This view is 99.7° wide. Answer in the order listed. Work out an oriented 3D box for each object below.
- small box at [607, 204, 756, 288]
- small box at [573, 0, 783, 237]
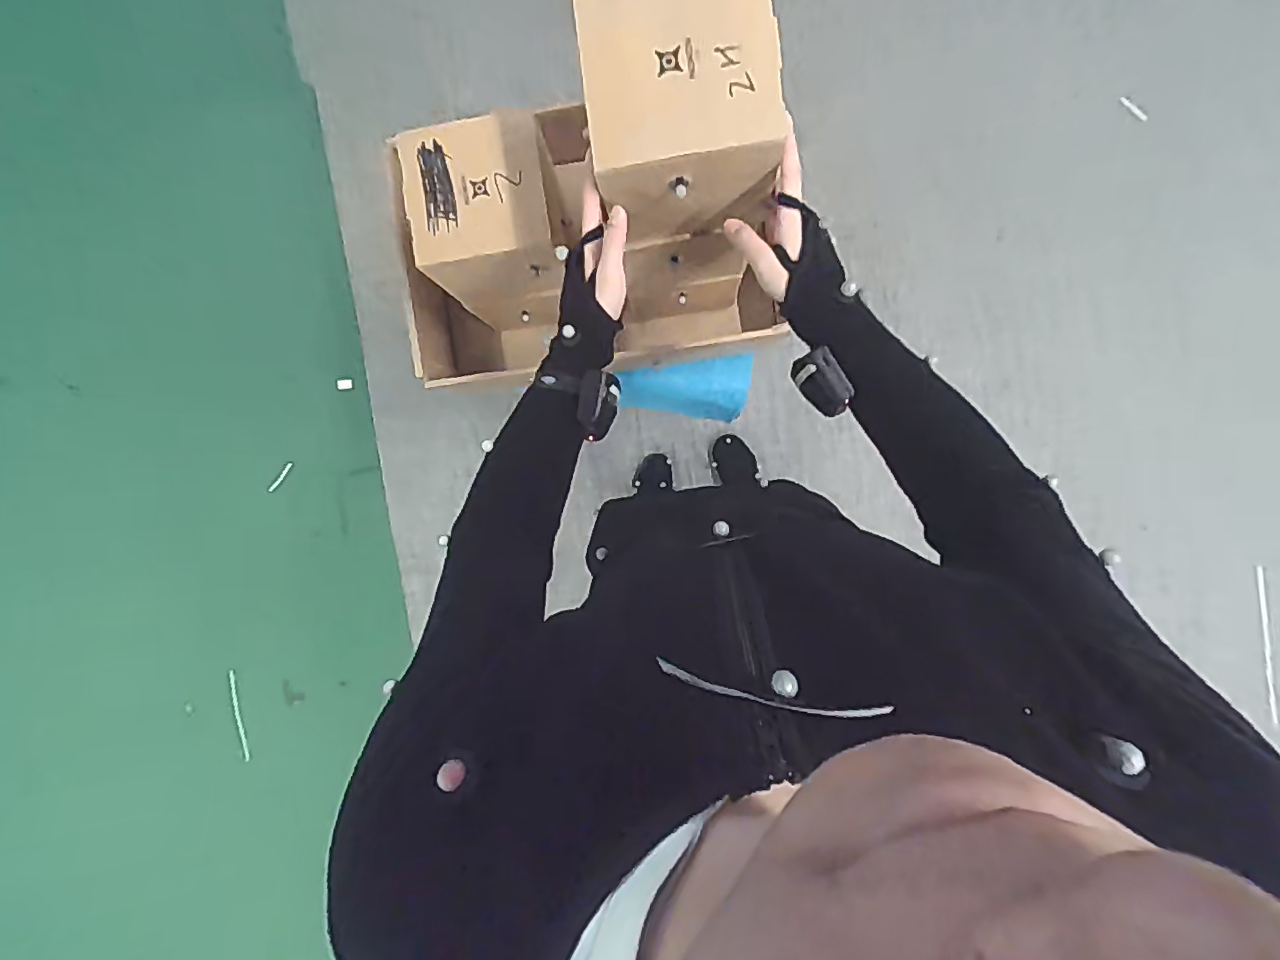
[{"bbox_3d":[0.054,-0.371,0.722,0.179,0.176,0.168,-8,92,7],"label":"small box"},{"bbox_3d":[0.042,-0.371,0.557,0.179,0.176,0.168,-6,92,6],"label":"small box"}]
